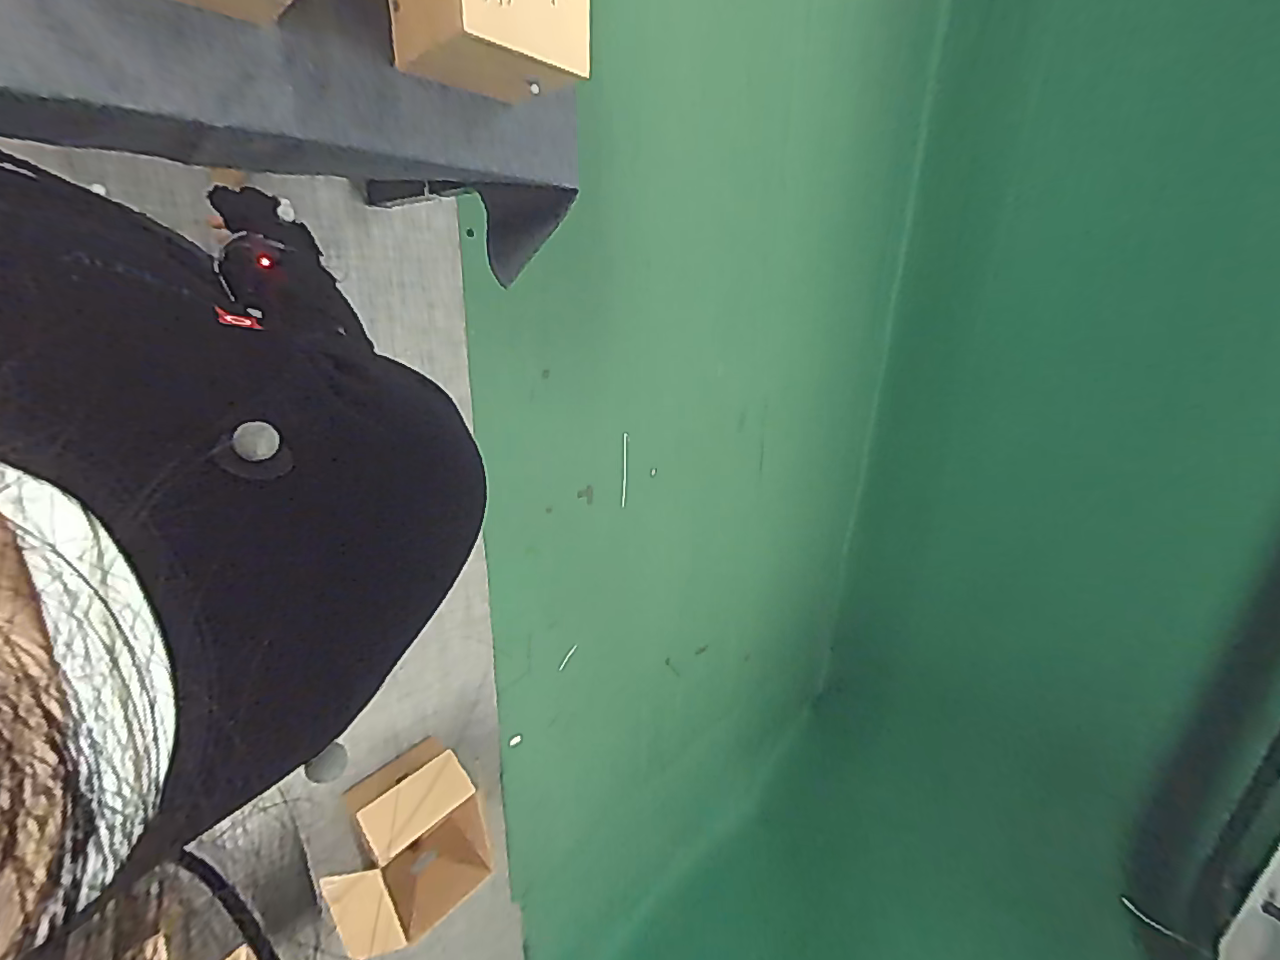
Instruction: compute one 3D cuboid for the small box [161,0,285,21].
[{"bbox_3d":[-0.396,-0.512,0.435,0.179,0.176,0.168,-17,116,-42],"label":"small box"}]
